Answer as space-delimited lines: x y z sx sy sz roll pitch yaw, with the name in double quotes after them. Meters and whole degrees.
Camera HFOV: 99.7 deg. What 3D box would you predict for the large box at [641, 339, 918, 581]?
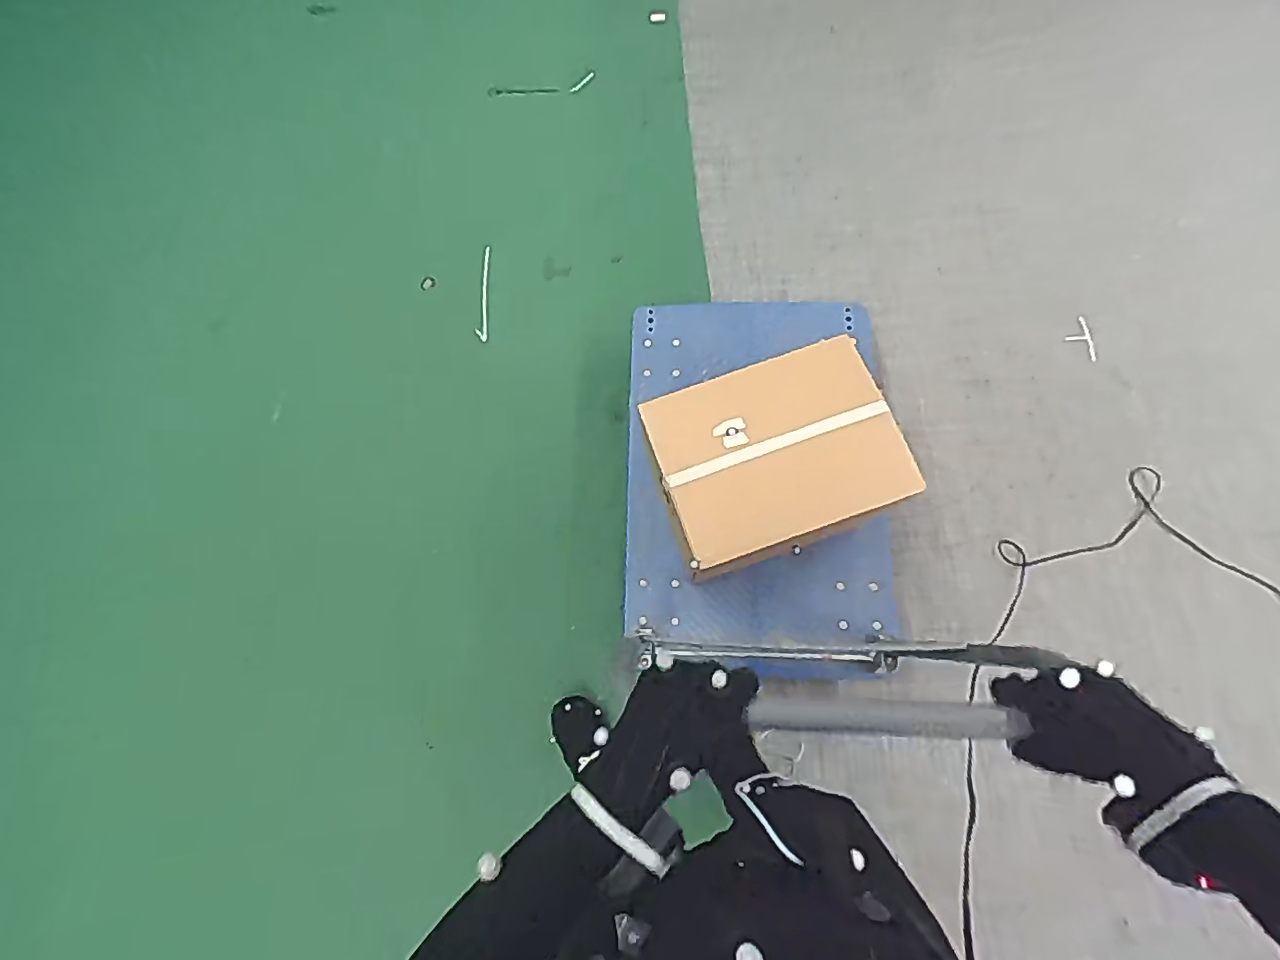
0.247 -0.017 1.084 0.408 0.320 0.320 -20 74 -1 "large box"
